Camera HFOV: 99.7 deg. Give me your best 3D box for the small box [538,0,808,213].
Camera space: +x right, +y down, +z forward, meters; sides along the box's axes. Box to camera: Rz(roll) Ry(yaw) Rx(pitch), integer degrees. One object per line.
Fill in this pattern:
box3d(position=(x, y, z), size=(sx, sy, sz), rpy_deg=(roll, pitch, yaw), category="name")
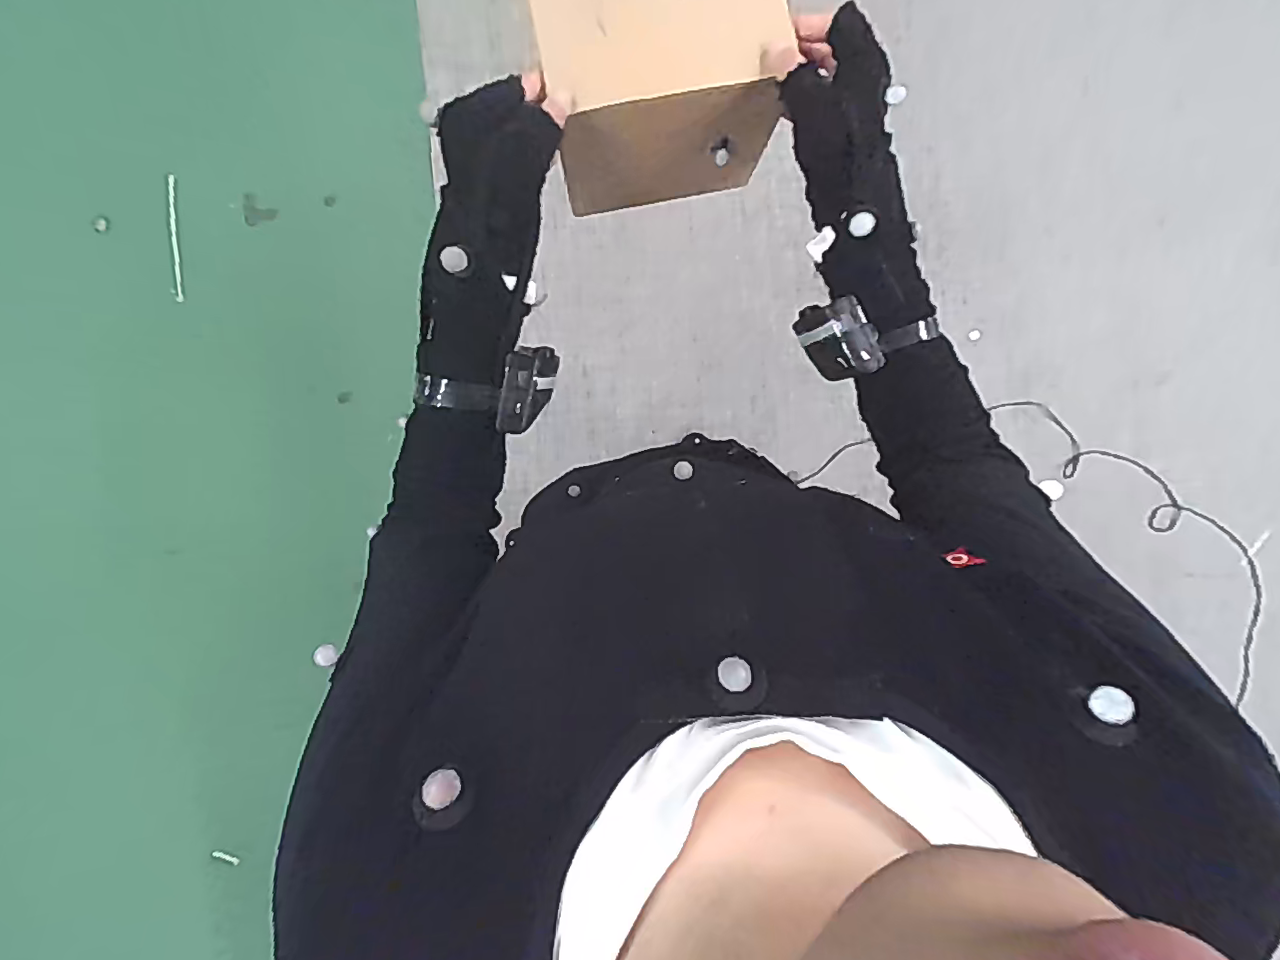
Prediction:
box3d(position=(0.015, -0.349, 0.445), size=(0.179, 0.176, 0.168), rpy_deg=(-12, 93, 1), category="small box")
